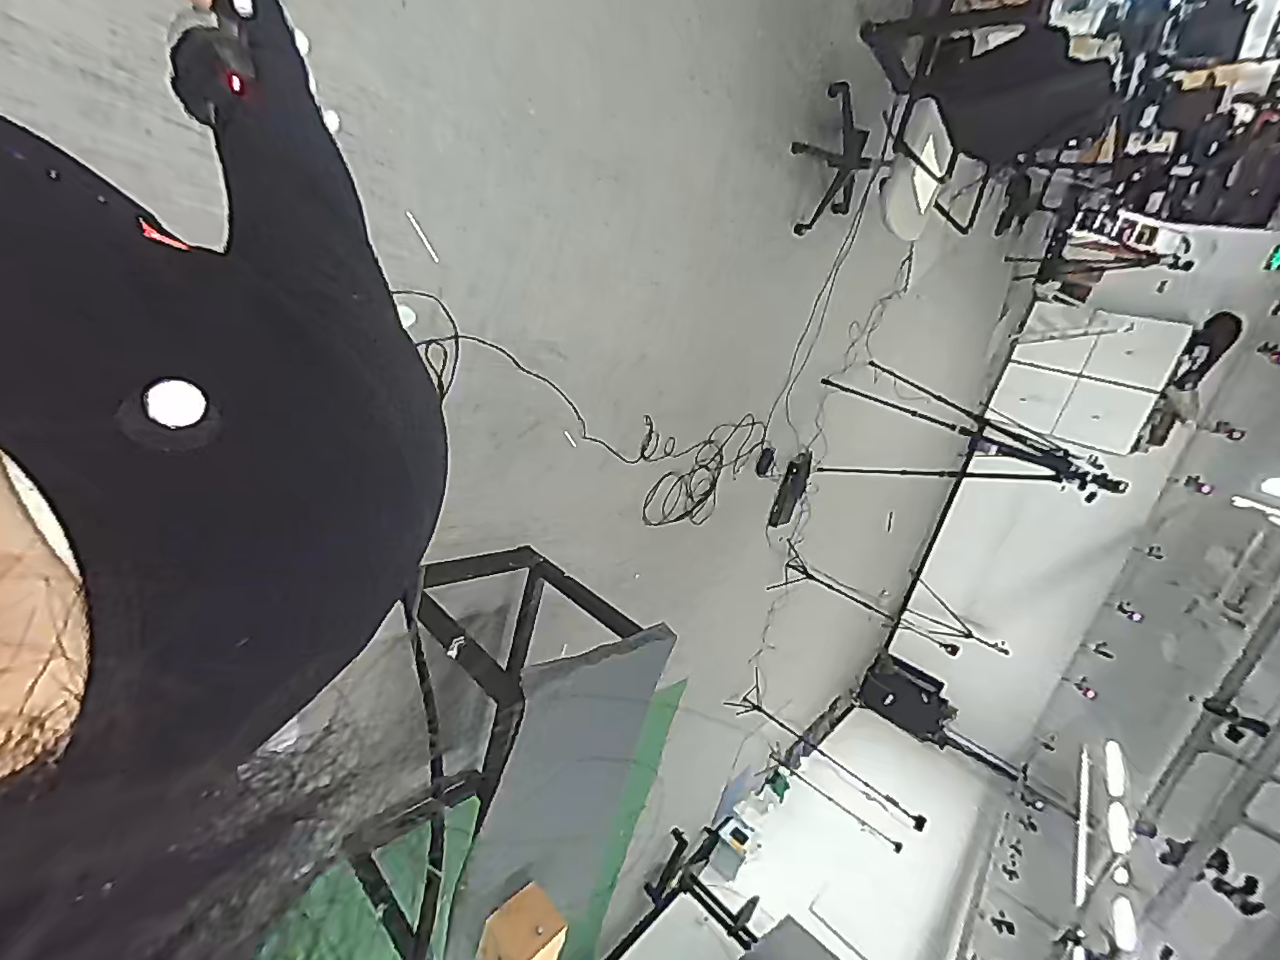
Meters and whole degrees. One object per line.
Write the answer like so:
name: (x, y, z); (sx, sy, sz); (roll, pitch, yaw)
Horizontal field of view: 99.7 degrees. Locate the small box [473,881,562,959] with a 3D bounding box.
small box: (-0.358, 1.331, 1.566); (0.179, 0.176, 0.168); (-4, 114, -52)
